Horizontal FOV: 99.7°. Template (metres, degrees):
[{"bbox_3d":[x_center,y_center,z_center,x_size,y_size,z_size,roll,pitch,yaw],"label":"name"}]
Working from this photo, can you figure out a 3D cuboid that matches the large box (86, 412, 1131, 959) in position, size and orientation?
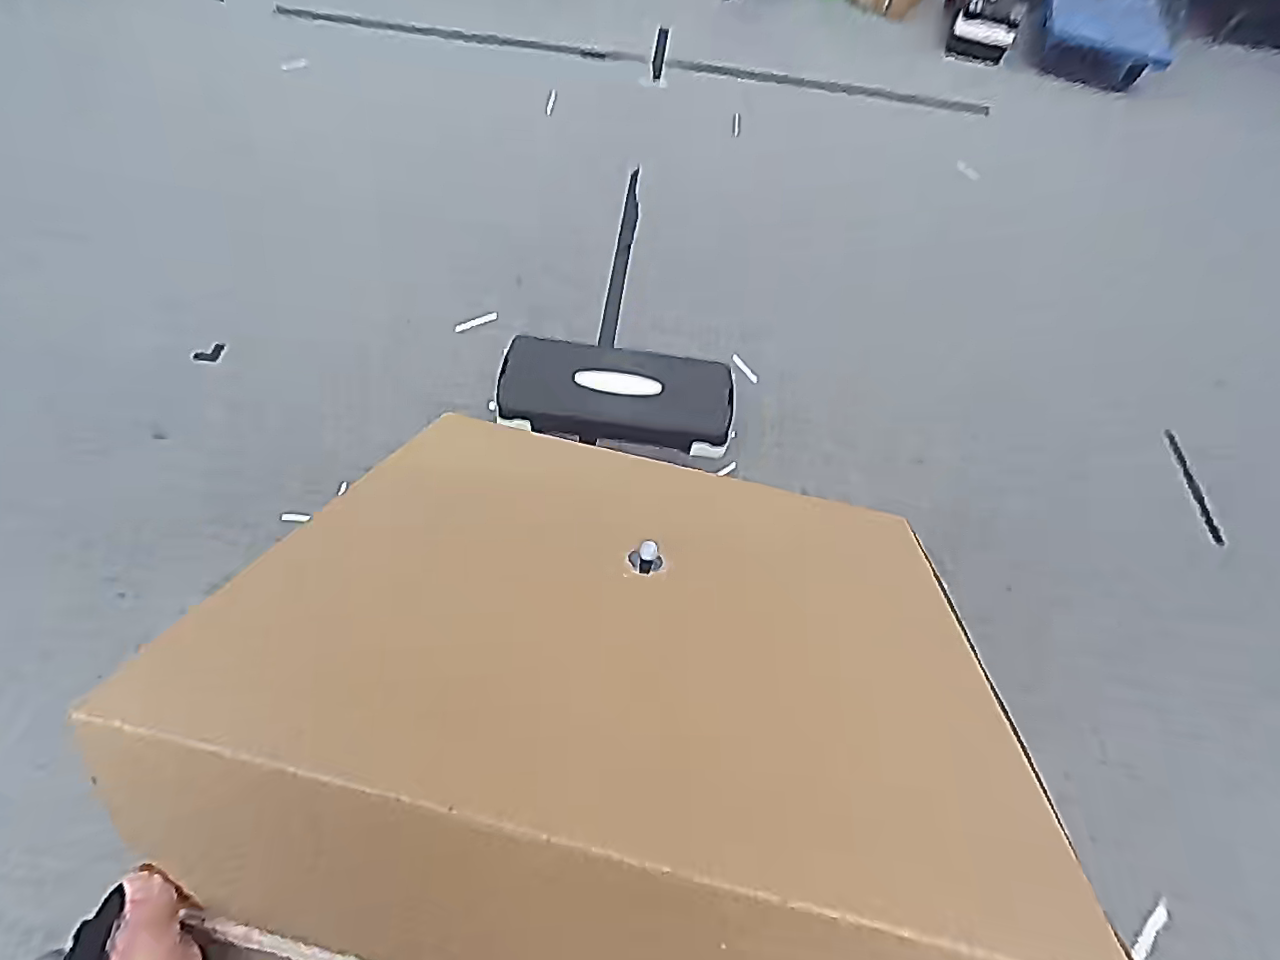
[{"bbox_3d":[-0.025,0.176,0.399,0.408,0.320,0.320,13,31,3],"label":"large box"}]
